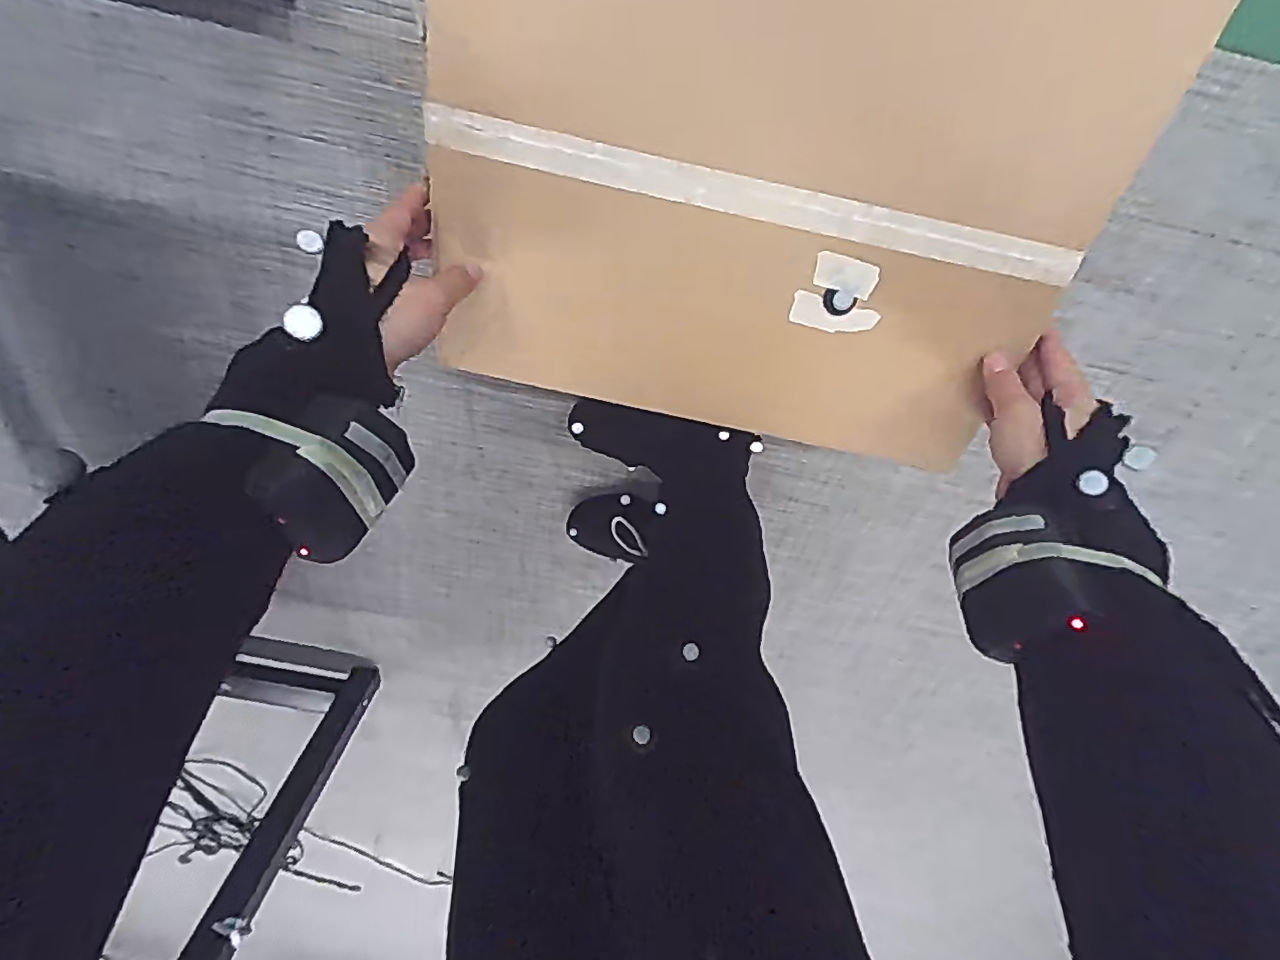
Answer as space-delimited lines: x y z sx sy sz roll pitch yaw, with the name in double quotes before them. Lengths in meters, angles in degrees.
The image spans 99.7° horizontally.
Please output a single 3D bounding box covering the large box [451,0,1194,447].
"large box" 0.084 -0.263 0.470 0.408 0.320 0.320 11 123 -3
